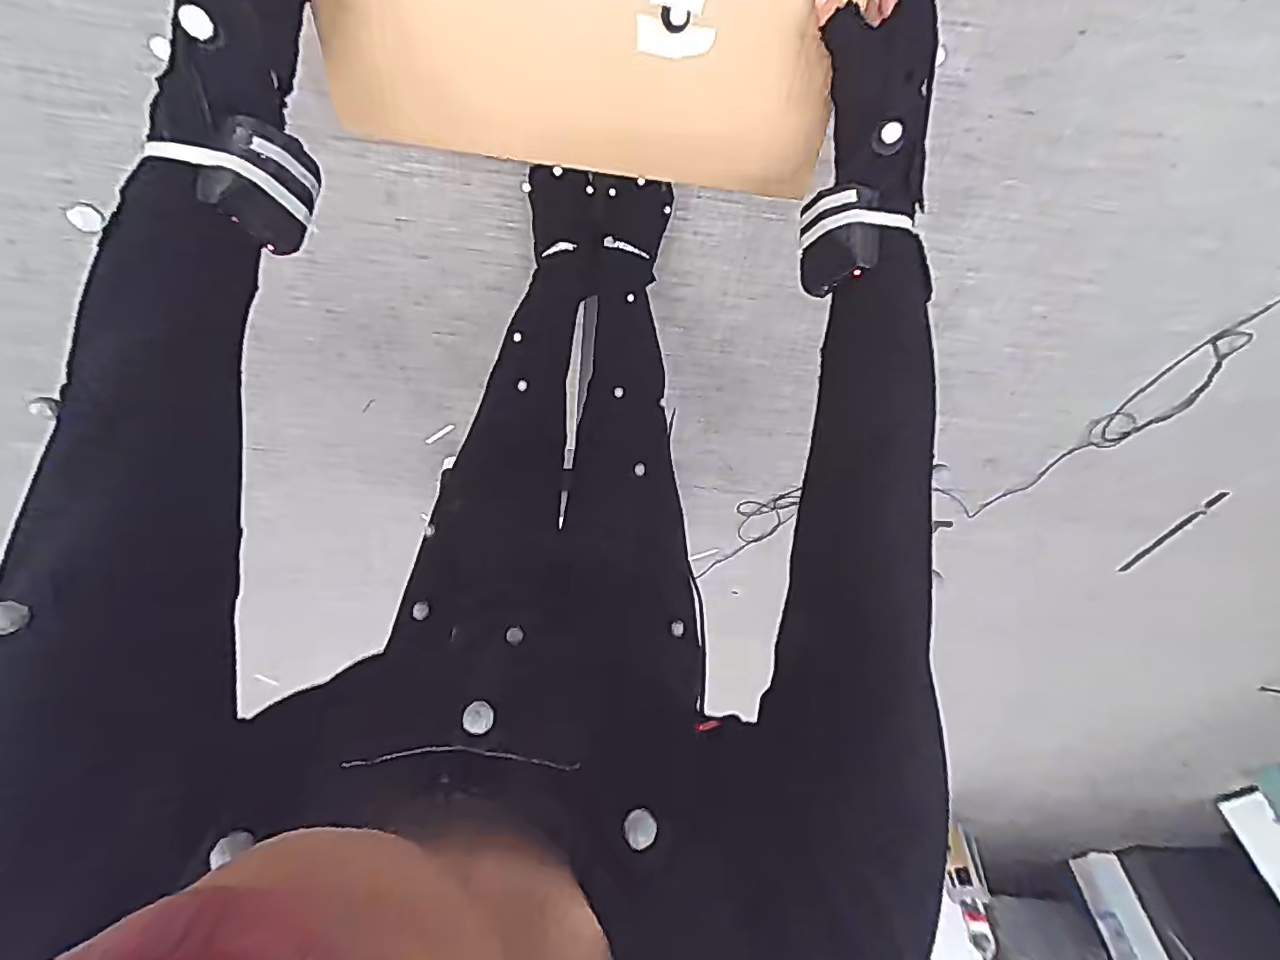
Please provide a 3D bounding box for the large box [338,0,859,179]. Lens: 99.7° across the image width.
[{"bbox_3d":[-0.028,-0.502,0.489,0.408,0.320,0.320,5,133,-5],"label":"large box"}]
